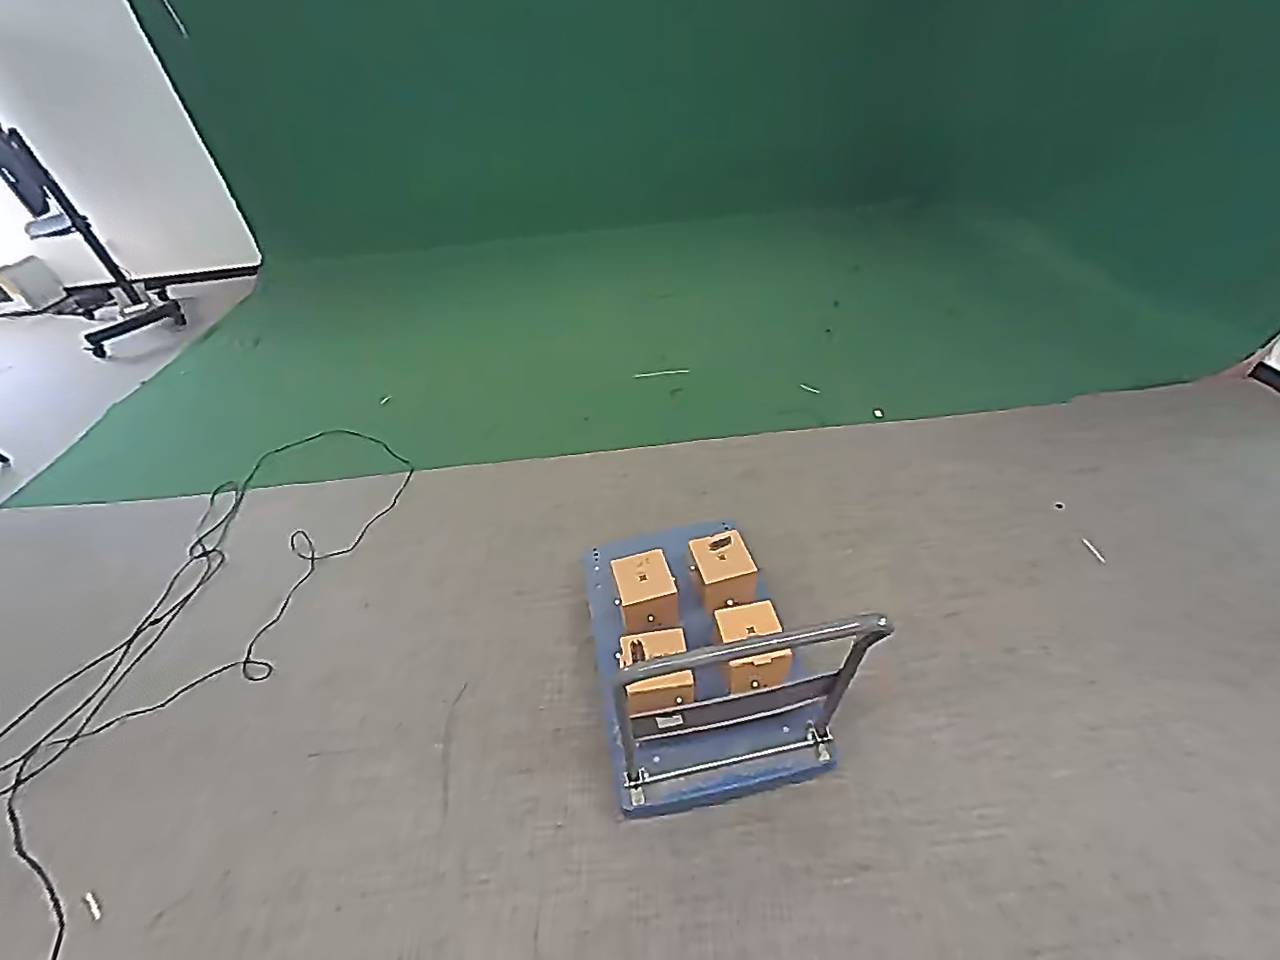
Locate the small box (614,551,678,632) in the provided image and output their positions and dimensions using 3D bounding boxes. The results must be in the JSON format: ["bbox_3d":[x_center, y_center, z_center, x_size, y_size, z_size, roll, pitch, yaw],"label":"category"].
[{"bbox_3d":[0.021,0.357,1.698,0.168,0.176,0.179,-12,43,-8],"label":"small box"}]

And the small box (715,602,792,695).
[{"bbox_3d":[0.314,0.478,1.534,0.168,0.176,0.179,-10,43,-4],"label":"small box"}]

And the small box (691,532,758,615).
[{"bbox_3d":[0.264,0.300,1.731,0.168,0.176,0.179,-13,44,-7],"label":"small box"}]
